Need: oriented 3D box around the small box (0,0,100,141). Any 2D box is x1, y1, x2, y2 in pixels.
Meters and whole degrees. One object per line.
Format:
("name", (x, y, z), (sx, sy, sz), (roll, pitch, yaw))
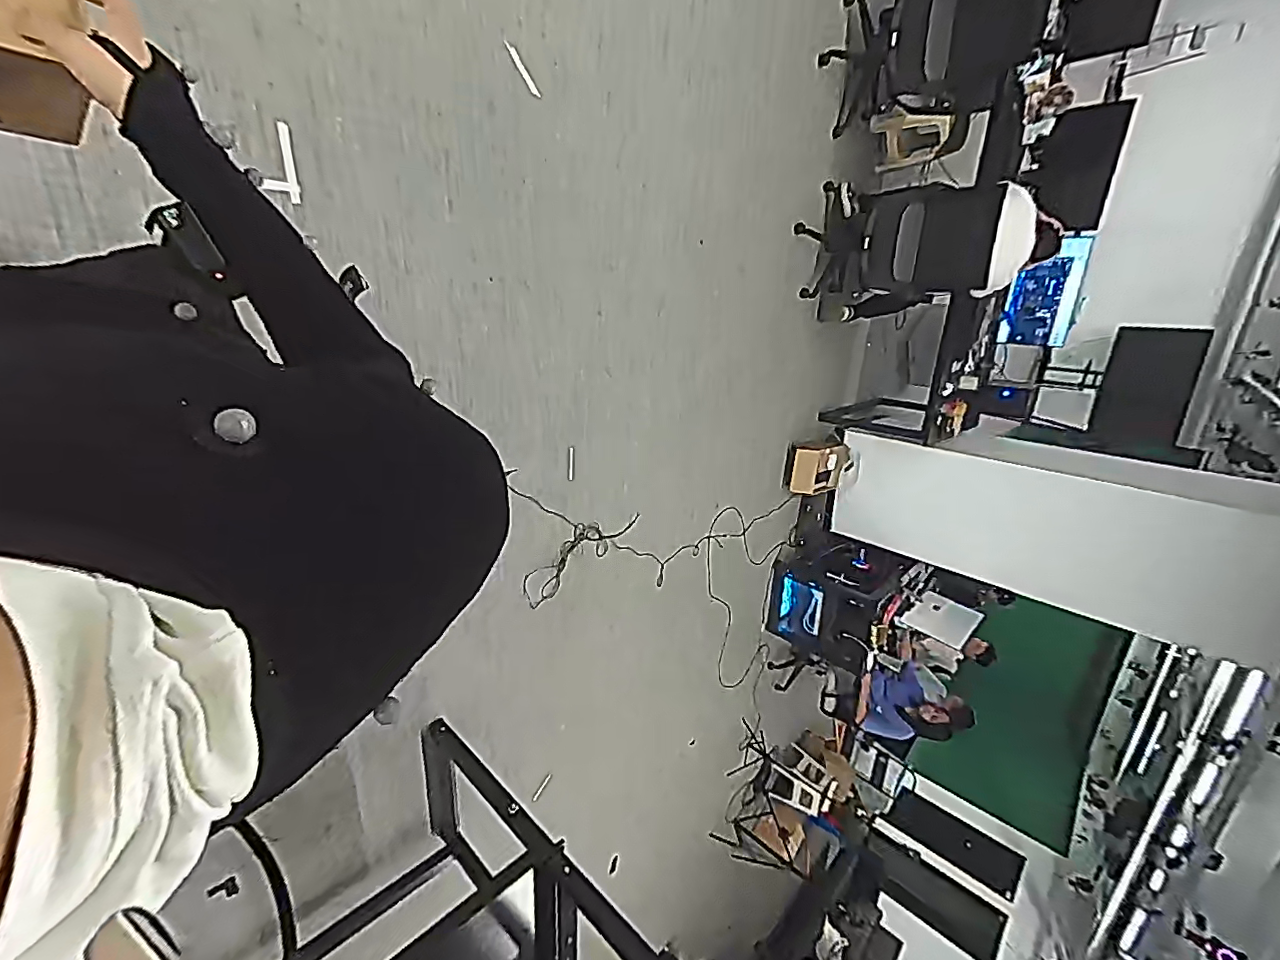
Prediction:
("small box", (-0.557, -0.403, 0.414), (0.168, 0.176, 0.179), (-16, 104, -49))
